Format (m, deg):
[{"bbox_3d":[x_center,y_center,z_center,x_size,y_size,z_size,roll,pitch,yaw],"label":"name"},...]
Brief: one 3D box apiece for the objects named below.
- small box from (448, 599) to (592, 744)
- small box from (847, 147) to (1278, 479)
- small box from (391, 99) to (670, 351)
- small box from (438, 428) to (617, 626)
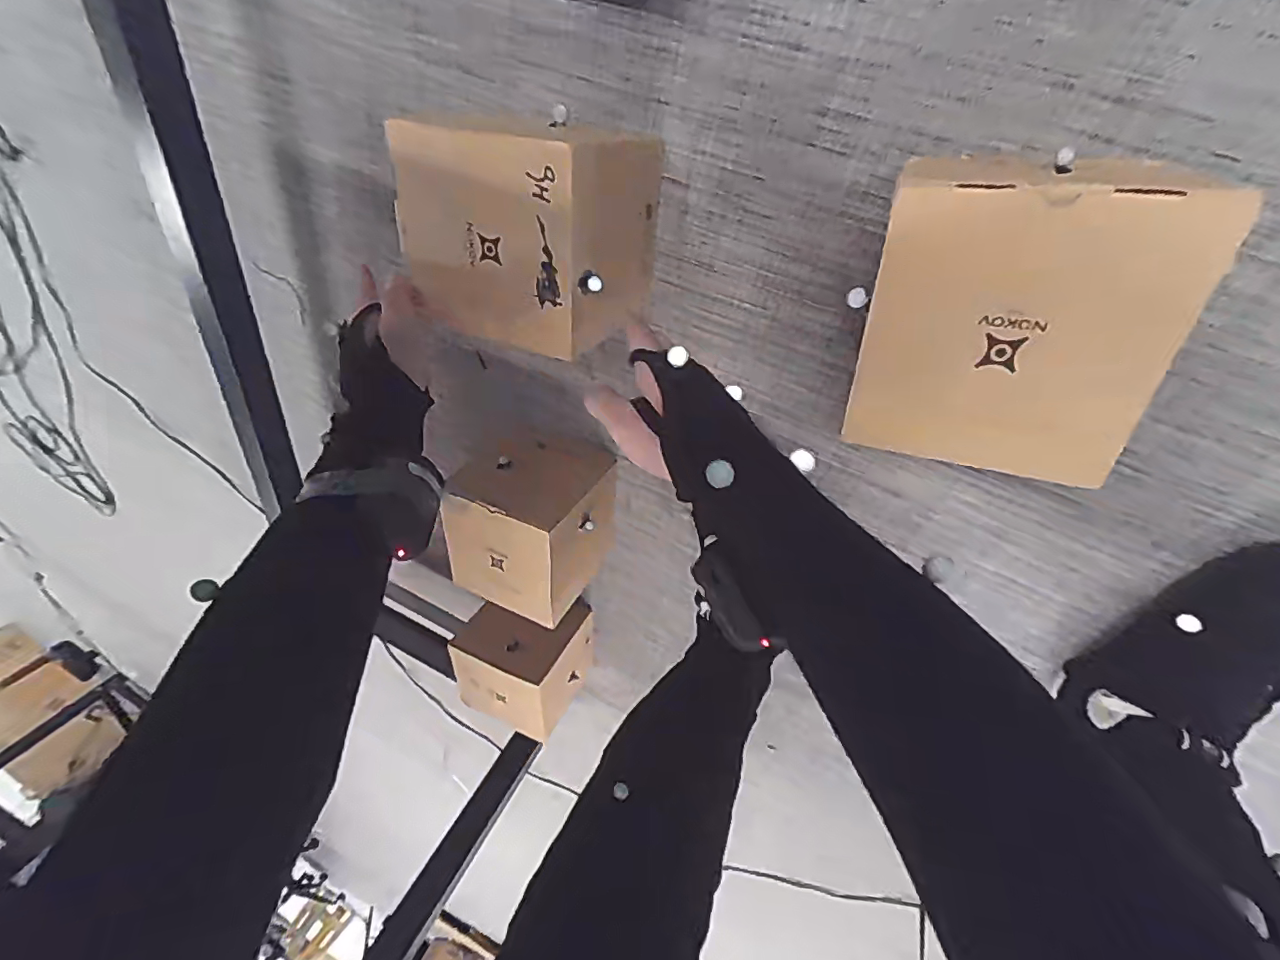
[{"bbox_3d":[-0.193,0.301,0.920,0.179,0.176,0.168,18,128,19],"label":"small box"},{"bbox_3d":[0.261,-0.131,0.387,0.168,0.176,0.179,14,126,20],"label":"small box"},{"bbox_3d":[-0.091,-0.241,0.502,0.179,0.176,0.168,19,128,17],"label":"small box"},{"bbox_3d":[-0.140,0.053,0.728,0.168,0.176,0.179,19,129,18],"label":"small box"}]
